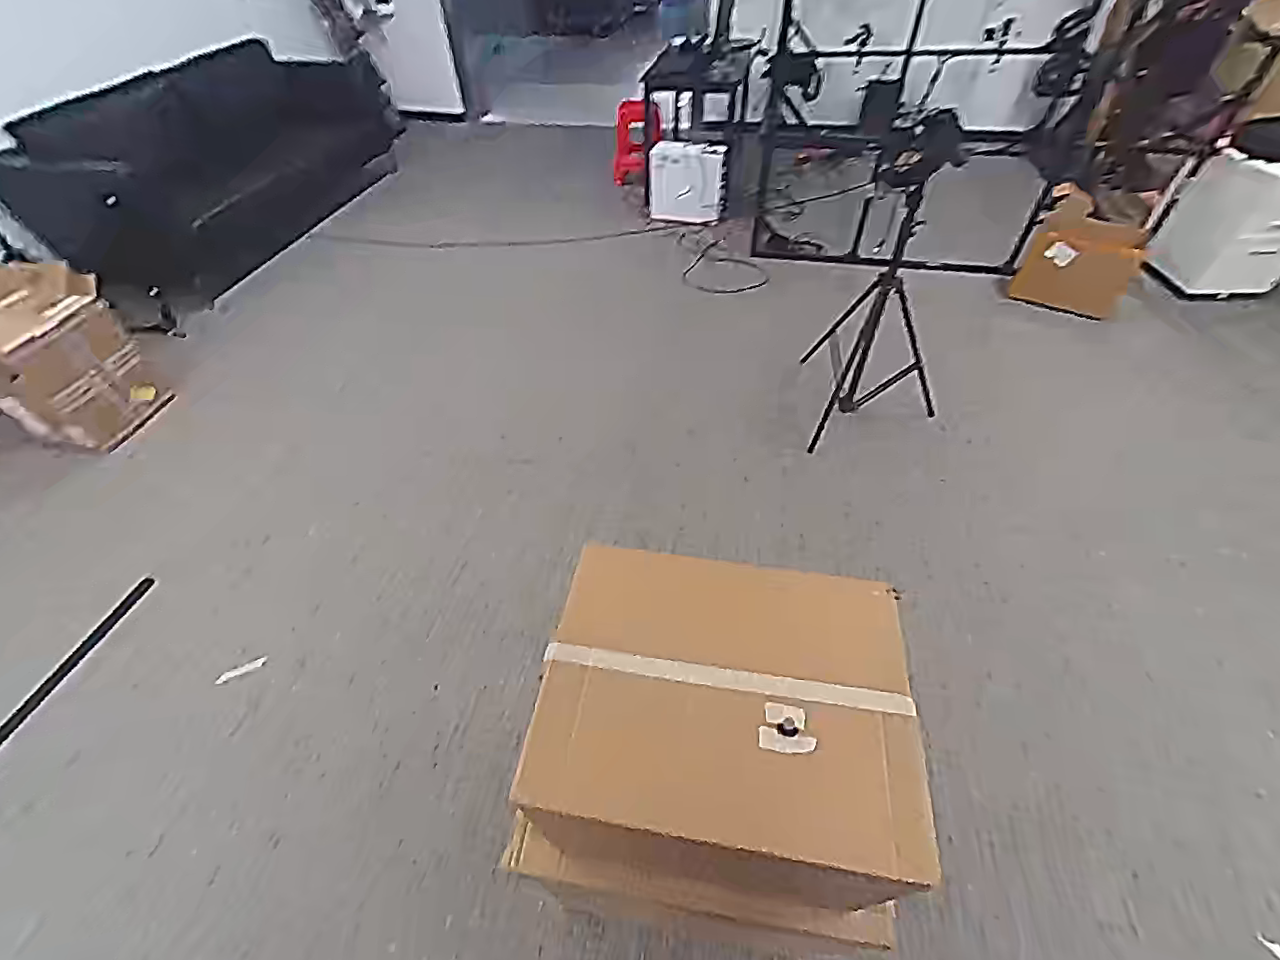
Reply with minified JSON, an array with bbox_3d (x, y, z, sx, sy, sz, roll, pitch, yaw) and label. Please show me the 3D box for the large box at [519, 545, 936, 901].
[{"bbox_3d":[0.096,0.319,0.717,0.408,0.320,0.320,7,49,7],"label":"large box"}]
